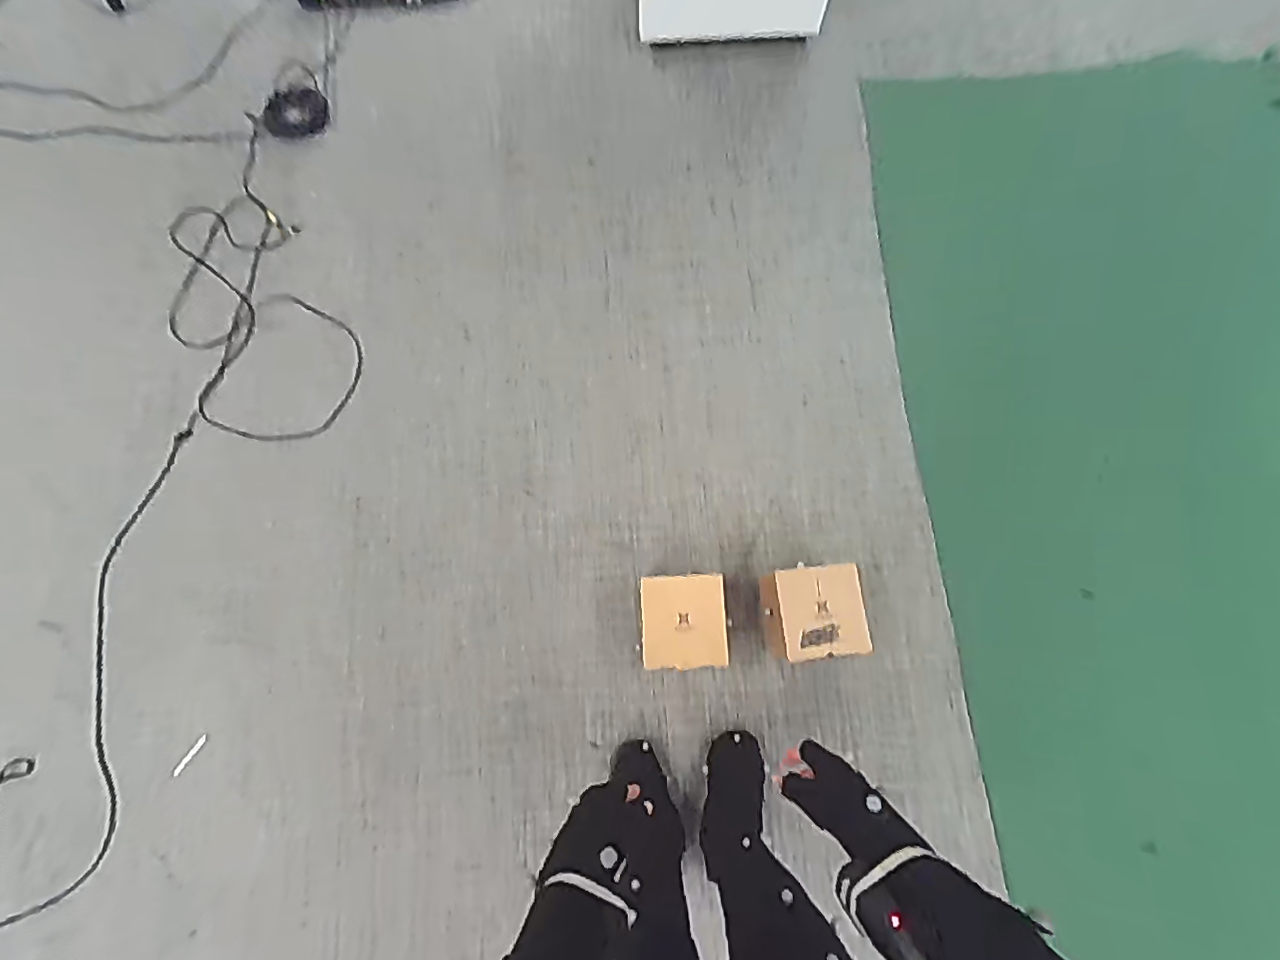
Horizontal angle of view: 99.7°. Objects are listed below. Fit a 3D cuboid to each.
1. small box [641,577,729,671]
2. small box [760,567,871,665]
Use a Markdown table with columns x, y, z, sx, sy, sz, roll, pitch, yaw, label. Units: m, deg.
| x | y | z | sx | sy | sz | roll | pitch | yaw | label |
| --- | --- | --- | --- | --- | --- | --- | --- | --- | --- |
| 0.087 | 0.299 | 1.129 | 0.168 | 0.176 | 0.179 | -3 | 77 | 0 | small box |
| 0.355 | 0.280 | 1.127 | 0.168 | 0.176 | 0.179 | -6 | 76 | 0 | small box |
